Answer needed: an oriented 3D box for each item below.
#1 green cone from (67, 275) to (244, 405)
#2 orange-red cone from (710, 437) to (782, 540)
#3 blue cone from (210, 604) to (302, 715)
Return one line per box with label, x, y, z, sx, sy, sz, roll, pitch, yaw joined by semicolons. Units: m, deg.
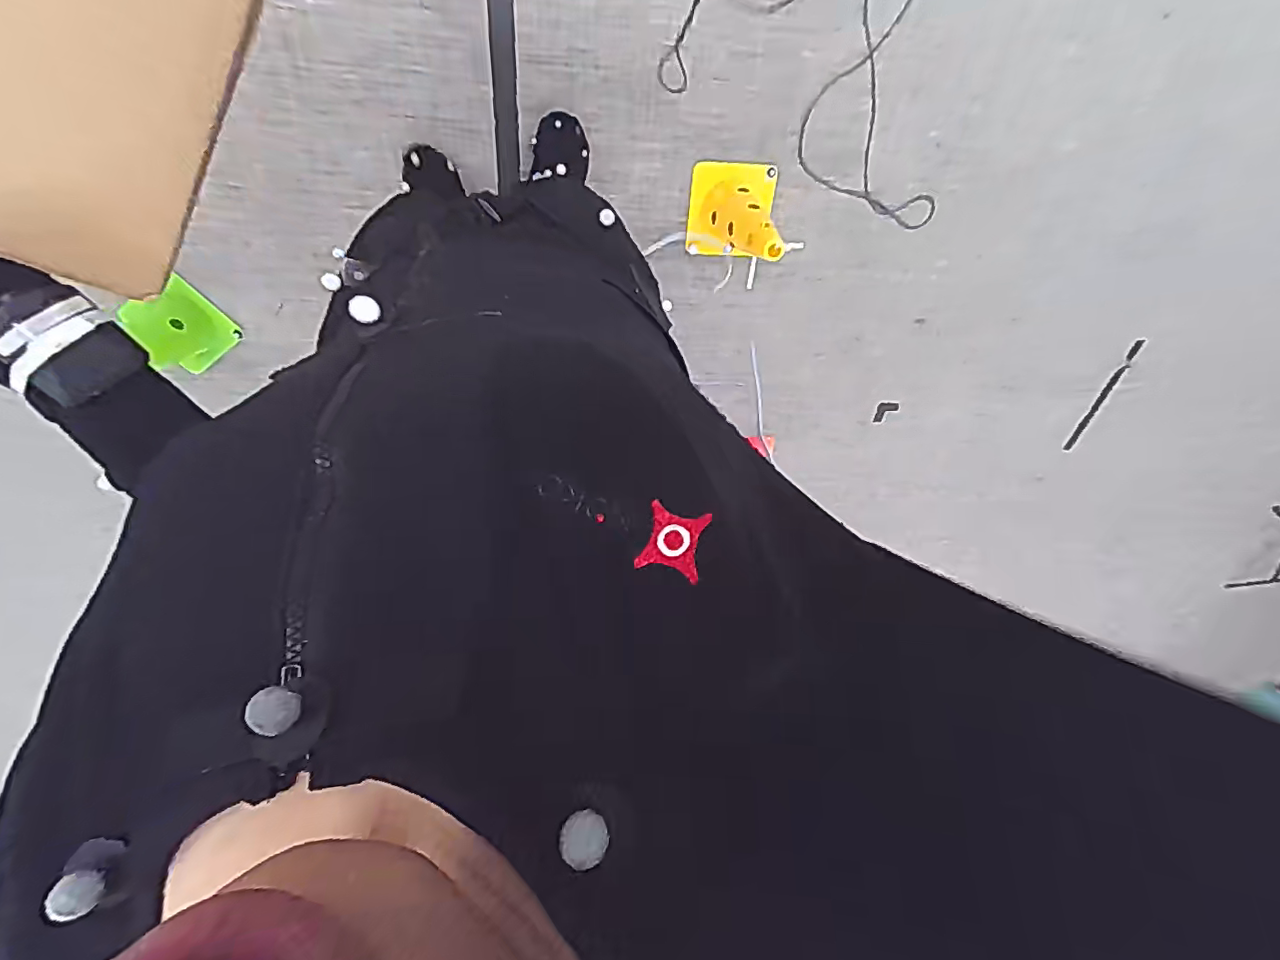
green cone;-1.094;-0.273;1.180;0.202;0.368;0.200;-30;124;16
orange-red cone;0.348;0.046;1.609;0.198;0.360;0.199;-3;126;-7
blue cone;-1.333;0.614;1.841;0.192;0.380;0.193;3;126;-8
